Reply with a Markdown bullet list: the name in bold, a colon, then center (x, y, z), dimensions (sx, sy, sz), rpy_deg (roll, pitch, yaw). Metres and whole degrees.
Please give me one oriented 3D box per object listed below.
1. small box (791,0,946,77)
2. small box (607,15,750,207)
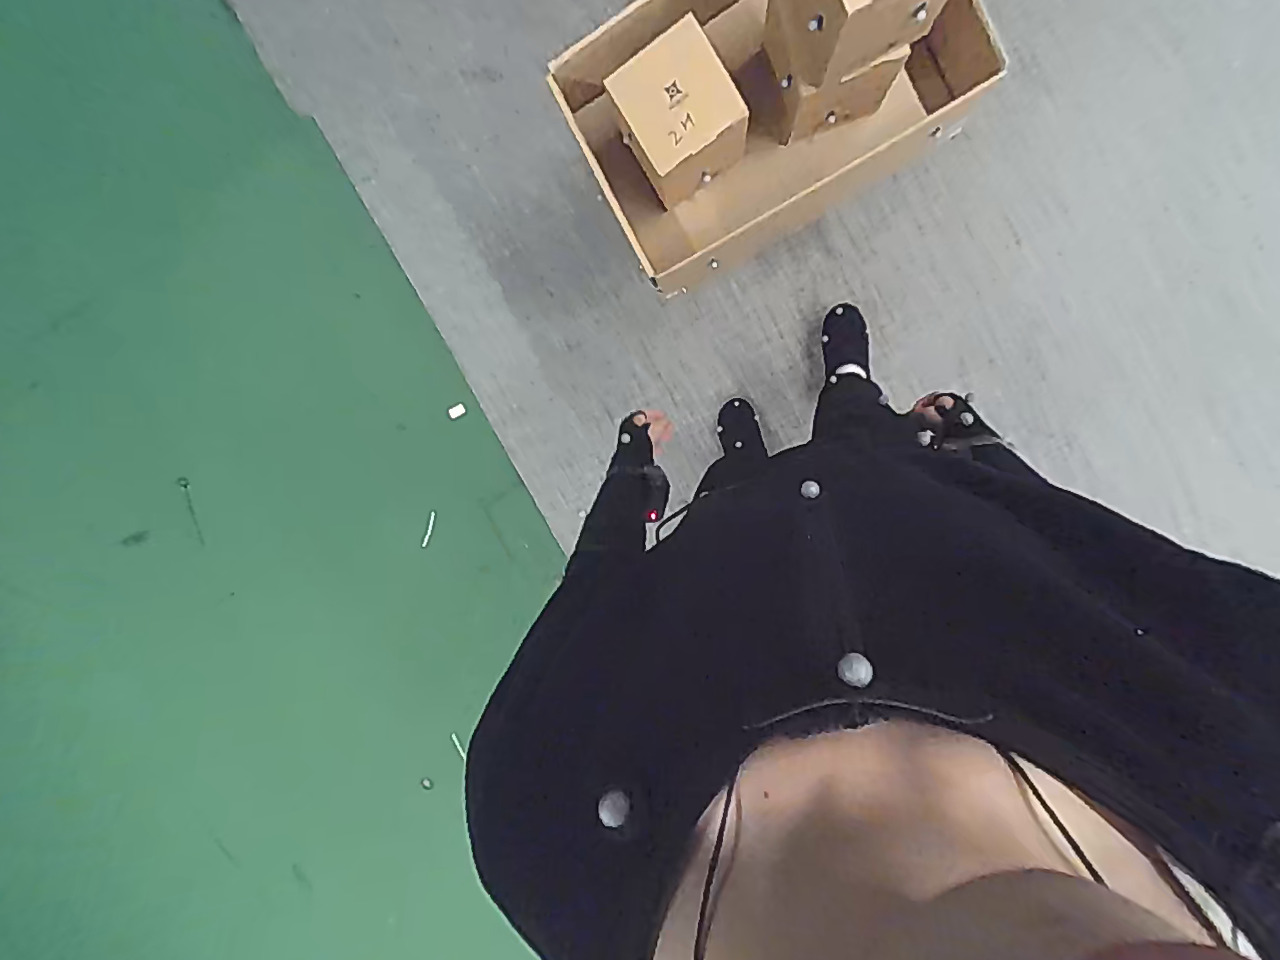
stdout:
- **small box**: center (0.304, -0.679, 0.709), dimensions (0.168, 0.176, 0.179), rpy_deg (-22, 95, 9)
- **small box**: center (0.067, -0.605, 0.915), dimensions (0.168, 0.176, 0.179), rpy_deg (-31, 94, 11)
